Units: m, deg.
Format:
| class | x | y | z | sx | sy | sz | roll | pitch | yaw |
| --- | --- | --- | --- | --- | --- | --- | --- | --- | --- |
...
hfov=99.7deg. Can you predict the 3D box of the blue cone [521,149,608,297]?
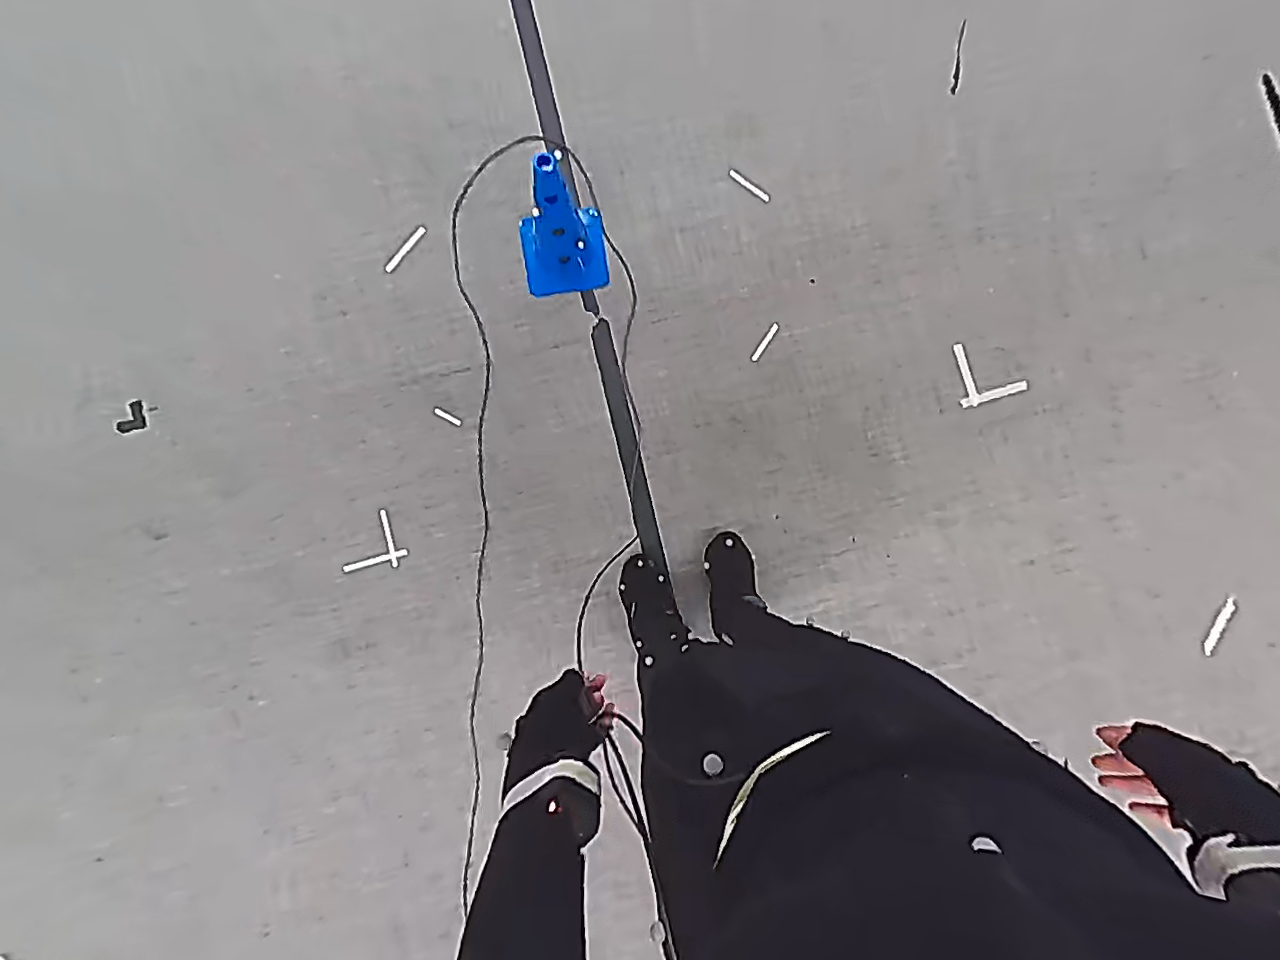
| class | x | y | z | sx | sy | sz | roll | pitch | yaw |
| --- | --- | --- | --- | --- | --- | --- | --- | --- | --- |
| blue cone | -0.176 | -0.547 | 1.133 | 0.193 | 0.380 | 0.192 | -11 | 88 | -2 |
